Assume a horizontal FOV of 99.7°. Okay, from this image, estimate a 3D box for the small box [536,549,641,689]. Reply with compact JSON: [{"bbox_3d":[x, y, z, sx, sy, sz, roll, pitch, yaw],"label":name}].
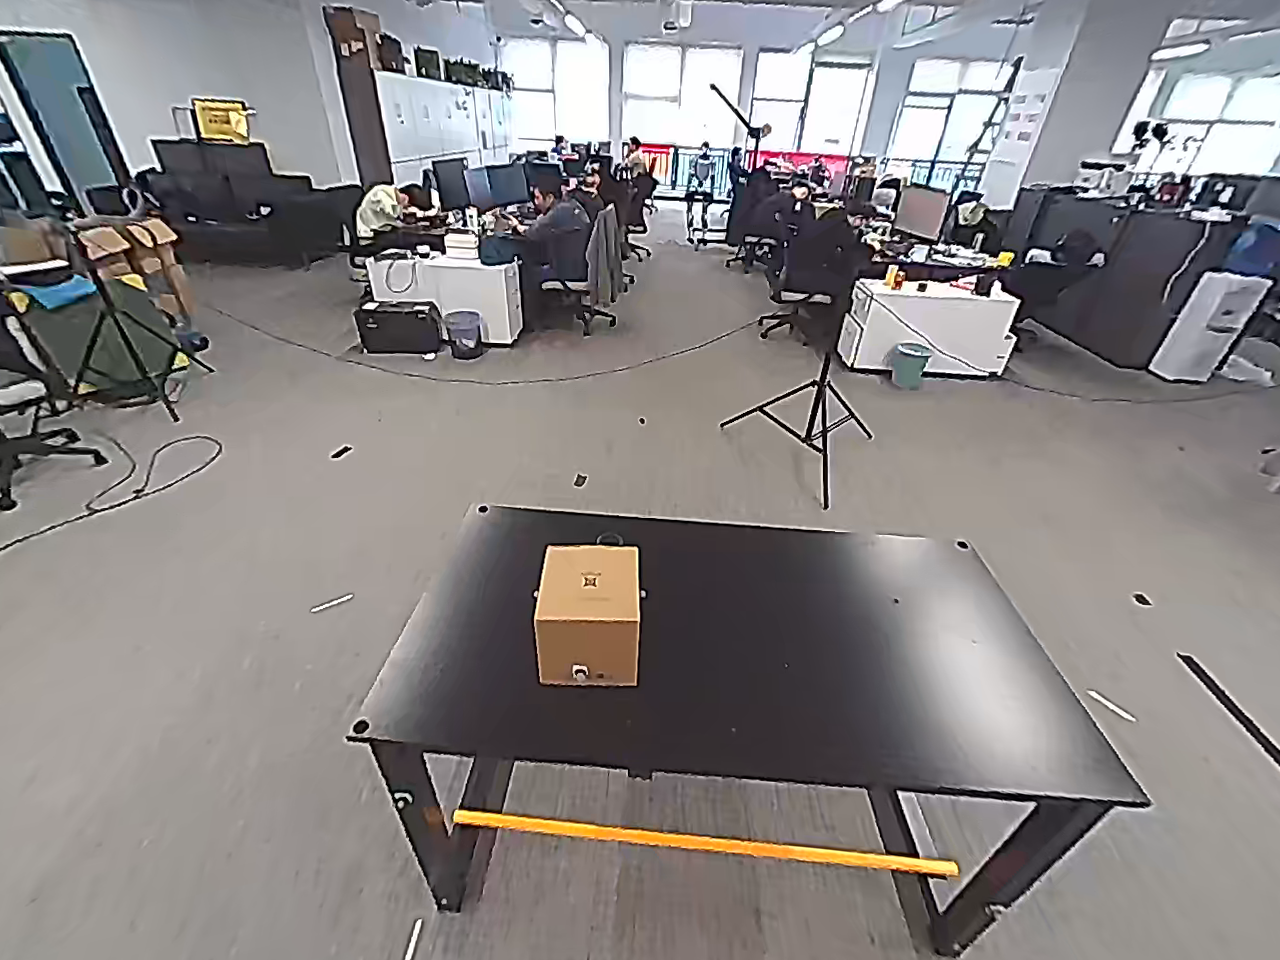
[{"bbox_3d":[-0.085,0.240,0.947,0.168,0.176,0.179,0,34,-3],"label":"small box"}]
